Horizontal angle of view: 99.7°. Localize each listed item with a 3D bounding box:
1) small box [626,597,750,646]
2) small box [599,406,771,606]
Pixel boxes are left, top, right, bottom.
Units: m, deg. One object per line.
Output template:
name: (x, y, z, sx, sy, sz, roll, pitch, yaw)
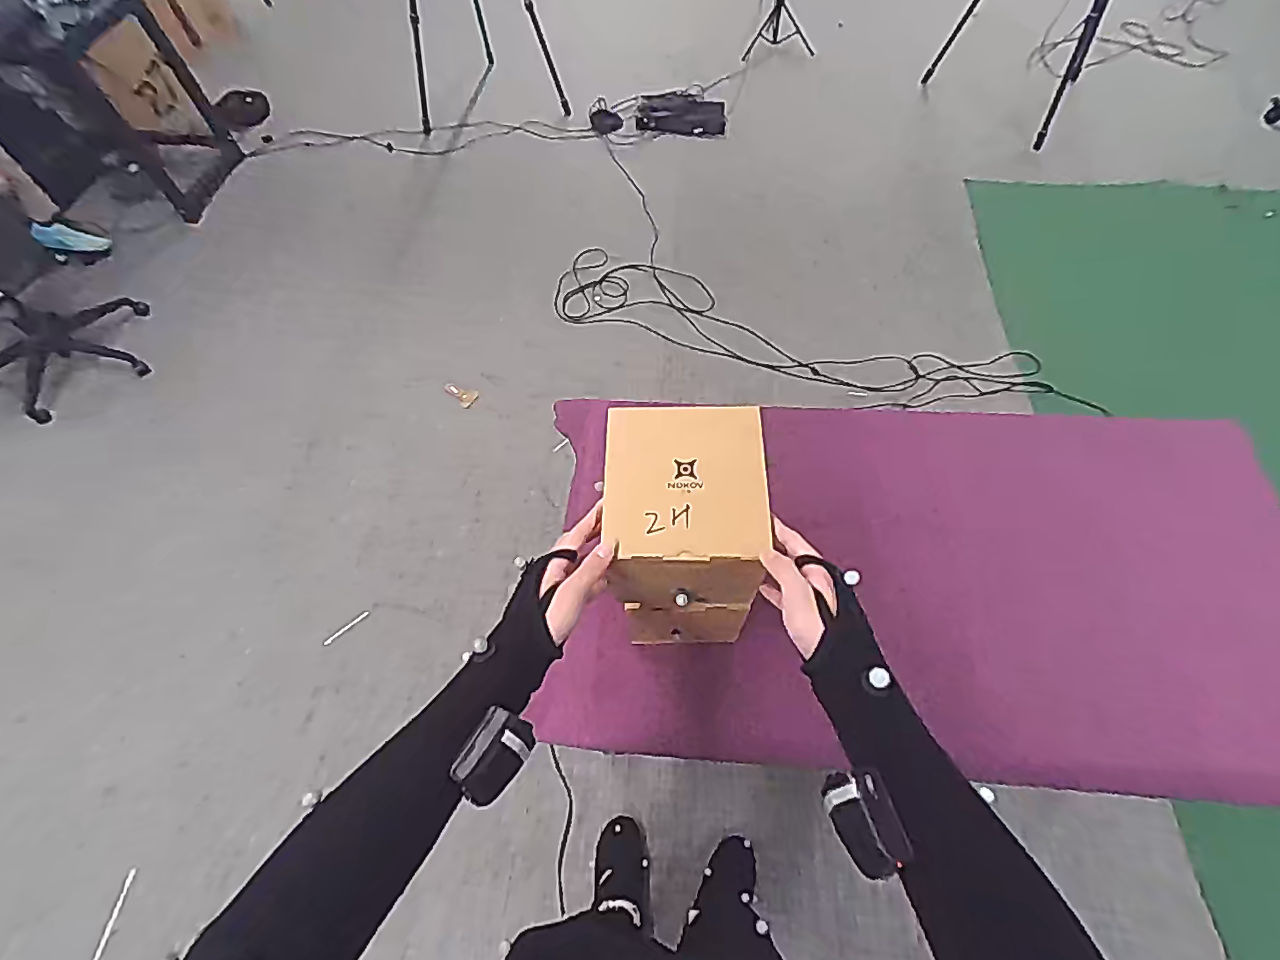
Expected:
small box: (0.064, 0.140, 0.815, 0.168, 0.176, 0.179, -2, 59, 1)
small box: (0.048, 0.034, 0.619, 0.168, 0.176, 0.179, 0, 62, 4)
